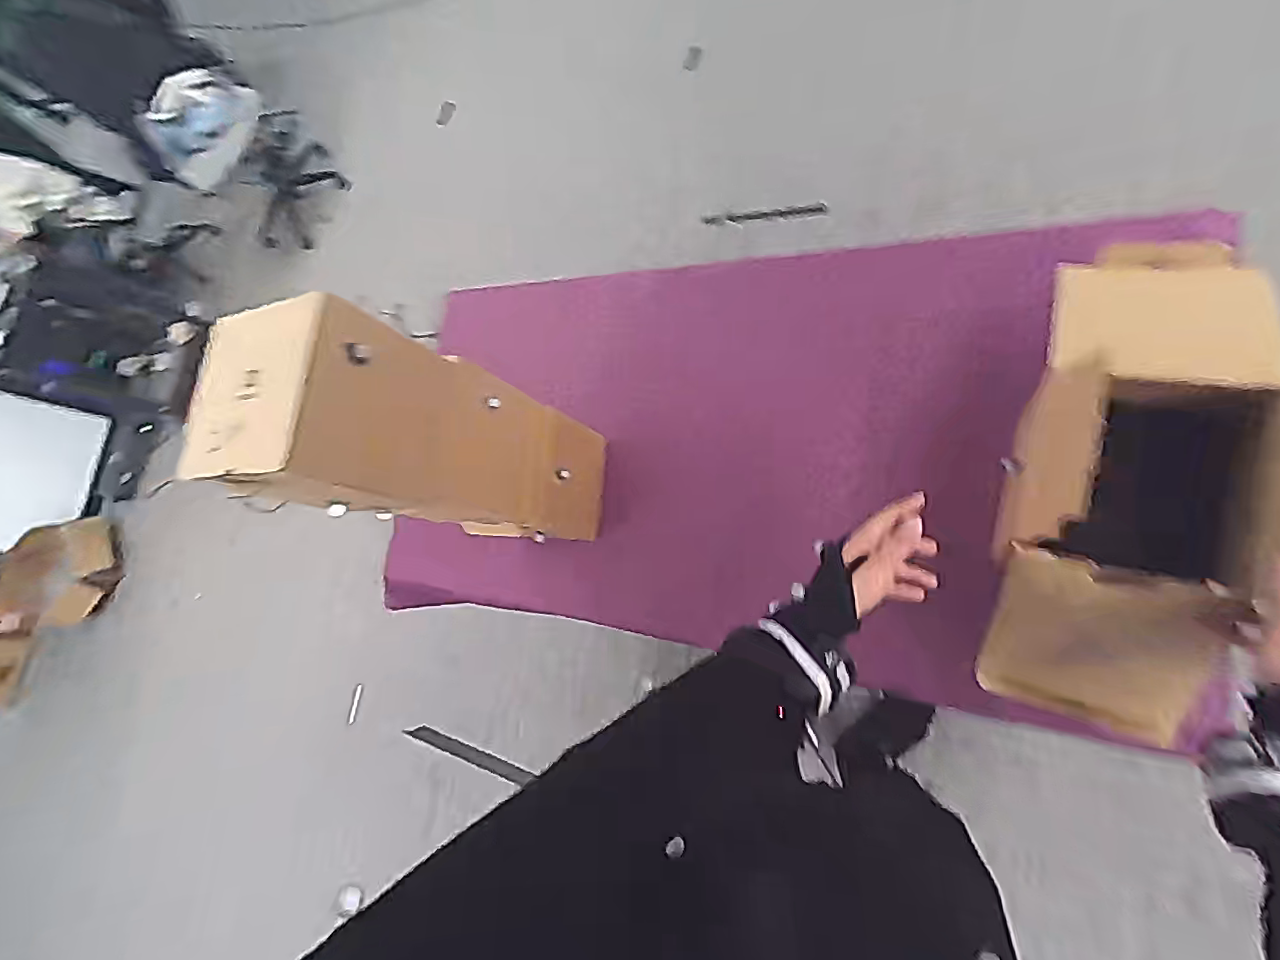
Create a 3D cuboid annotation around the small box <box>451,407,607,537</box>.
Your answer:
[{"bbox_3d":[-0.168,-0.006,0.862,0.168,0.176,0.179,2,78,26],"label":"small box"}]

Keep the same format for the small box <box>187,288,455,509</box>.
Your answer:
[{"bbox_3d":[-0.323,-0.072,0.577,0.168,0.176,0.179,-2,76,26],"label":"small box"}]
